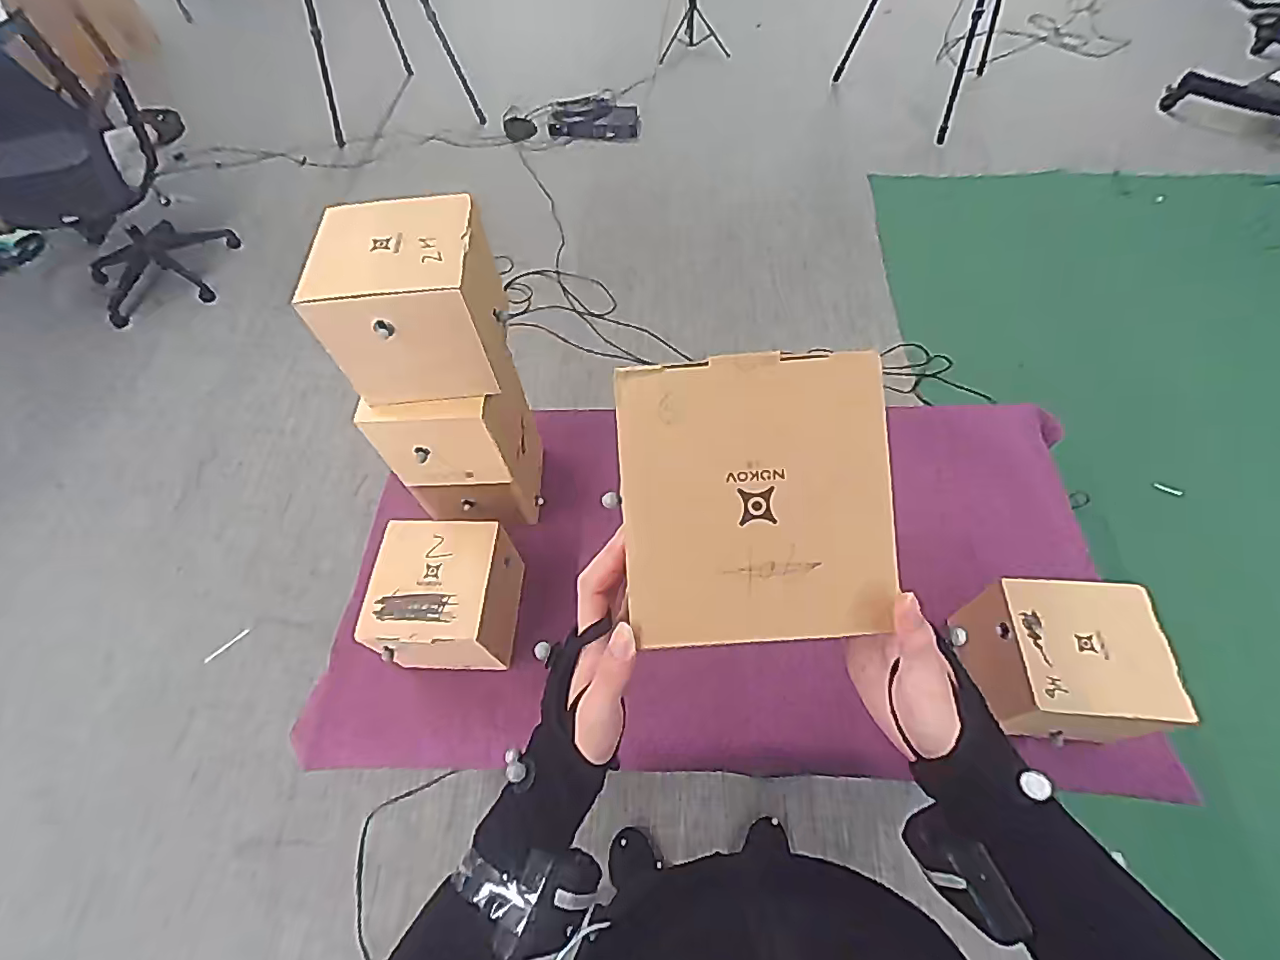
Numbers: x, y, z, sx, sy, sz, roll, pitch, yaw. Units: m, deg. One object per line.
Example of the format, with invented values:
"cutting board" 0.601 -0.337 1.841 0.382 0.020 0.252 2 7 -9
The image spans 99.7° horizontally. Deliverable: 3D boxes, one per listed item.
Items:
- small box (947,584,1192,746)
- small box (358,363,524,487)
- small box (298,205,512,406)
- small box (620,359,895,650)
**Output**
"small box" 0.550 0.253 0.725 0.179 0.176 0.168 3 57 5
"small box" -0.274 -0.099 0.791 0.168 0.176 0.179 -2 58 1
"small box" -0.268 -0.206 0.664 0.179 0.176 0.168 -5 59 -1
"small box" 0.072 0.017 0.413 0.168 0.176 0.179 -3 89 1
